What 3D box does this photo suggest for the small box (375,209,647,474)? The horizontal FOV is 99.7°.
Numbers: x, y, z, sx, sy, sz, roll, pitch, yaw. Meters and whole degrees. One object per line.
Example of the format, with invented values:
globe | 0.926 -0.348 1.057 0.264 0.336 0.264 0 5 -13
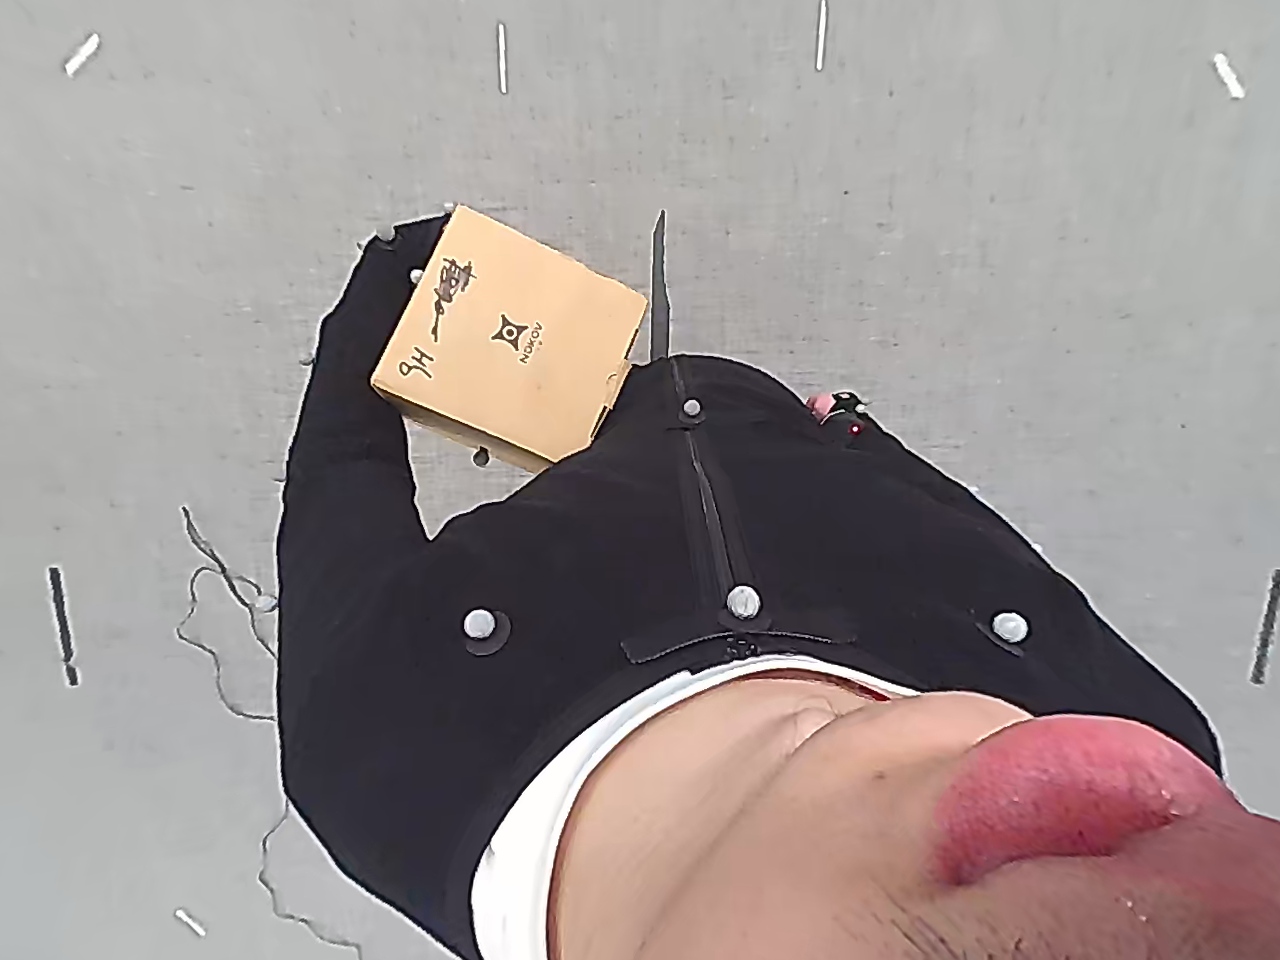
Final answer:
small box | -0.119 -0.112 0.525 0.179 0.176 0.168 23 81 -12
